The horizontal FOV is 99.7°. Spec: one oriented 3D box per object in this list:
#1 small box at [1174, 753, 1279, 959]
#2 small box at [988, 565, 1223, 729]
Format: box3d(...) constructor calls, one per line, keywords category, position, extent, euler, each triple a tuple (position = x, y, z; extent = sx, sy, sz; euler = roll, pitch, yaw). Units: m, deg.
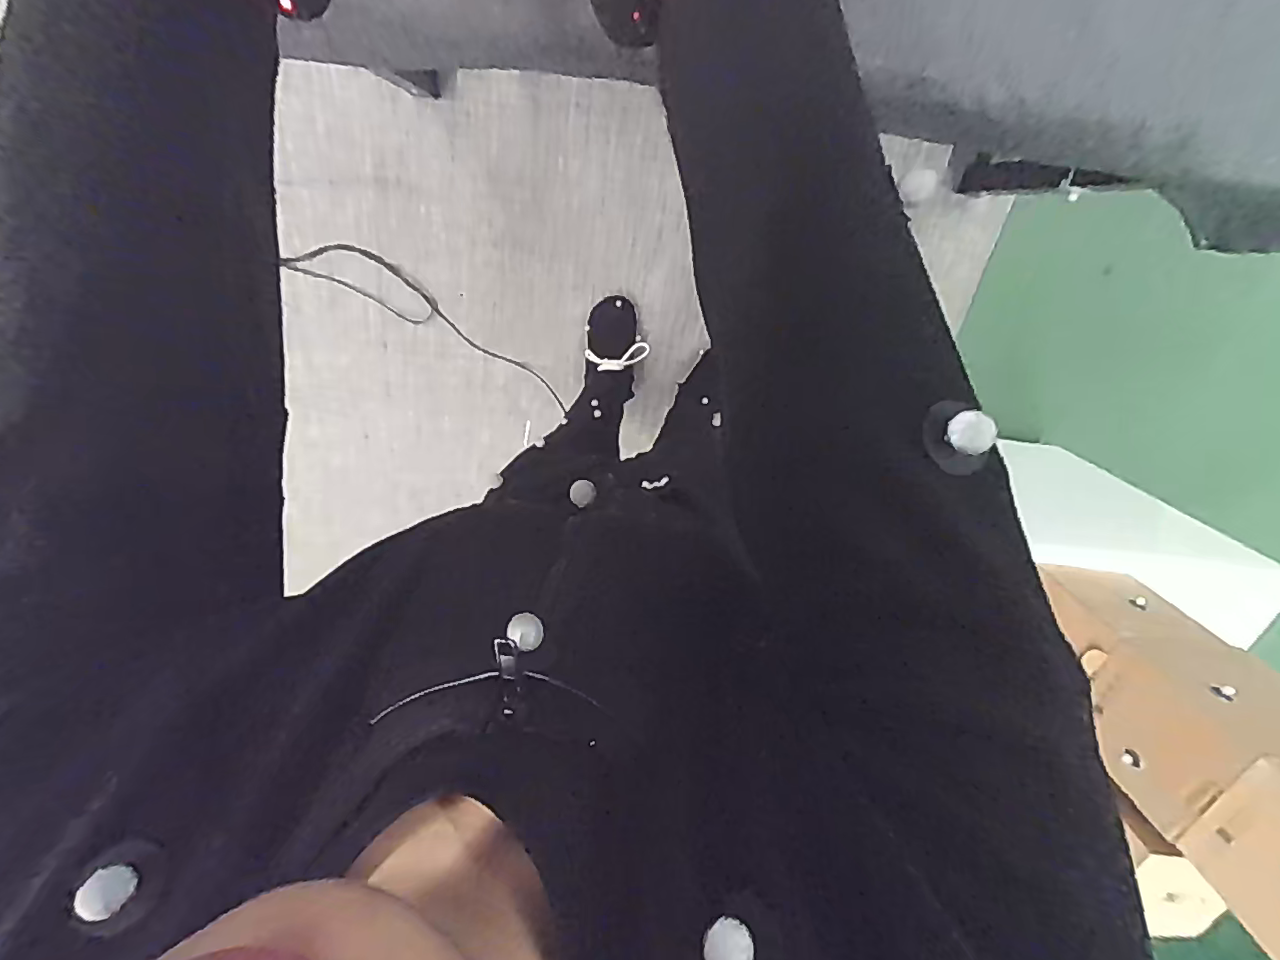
box3d(category="small box", position=(0.711, 0.395, 0.535), extent=(0.179, 0.176, 0.168), euler=(3, 117, -5))
box3d(category="small box", position=(0.683, 0.247, 0.823), extent=(0.179, 0.176, 0.168), euler=(7, 117, -7))
